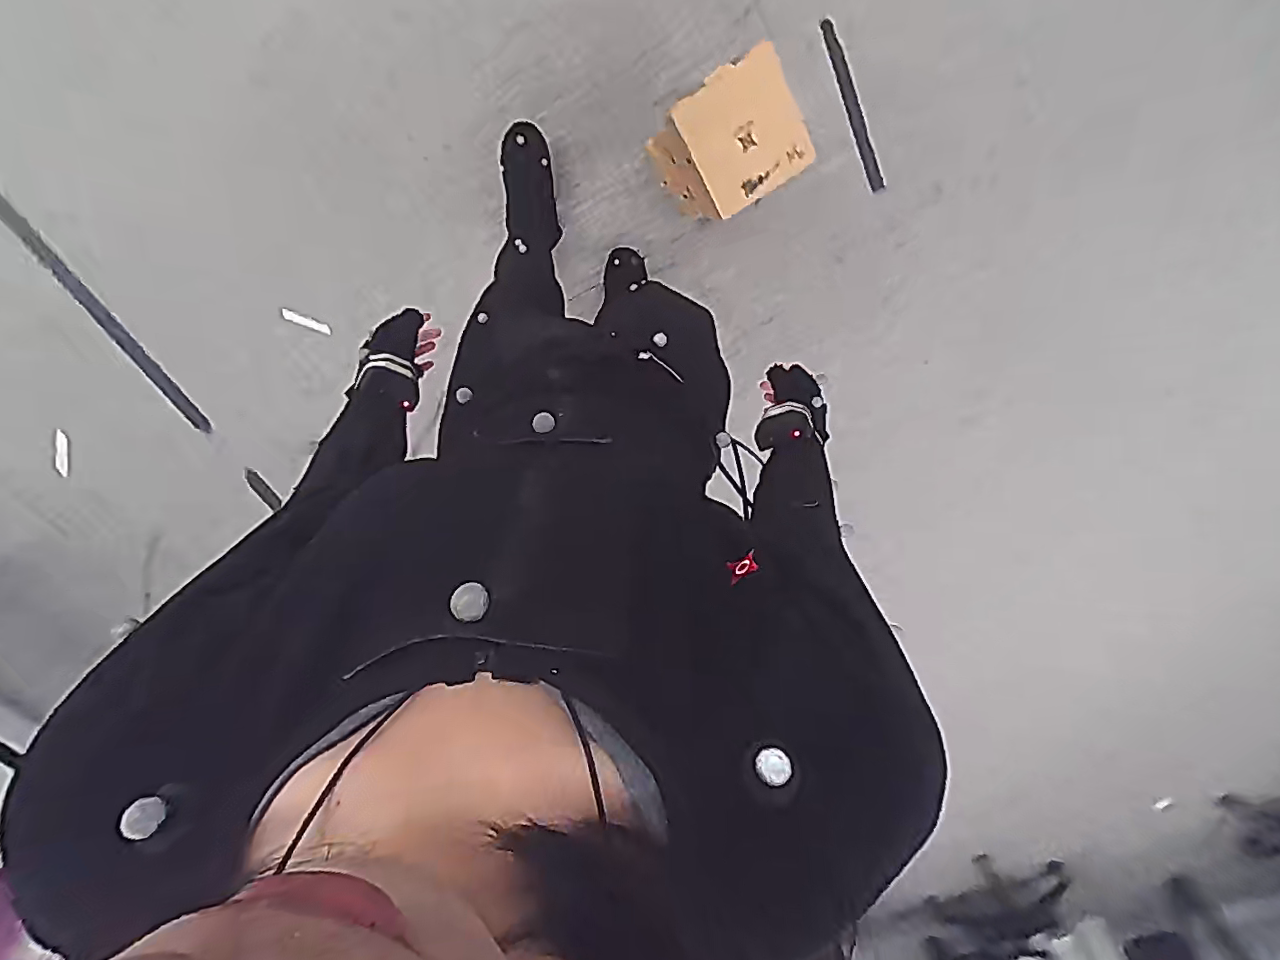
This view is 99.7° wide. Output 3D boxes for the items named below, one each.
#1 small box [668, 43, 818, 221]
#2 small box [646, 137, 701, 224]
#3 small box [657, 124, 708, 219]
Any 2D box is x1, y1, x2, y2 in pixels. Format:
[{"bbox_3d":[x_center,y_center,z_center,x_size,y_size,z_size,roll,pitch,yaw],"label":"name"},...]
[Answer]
[{"bbox_3d":[0.156,-0.541,0.873,0.168,0.176,0.179,-28,113,12],"label":"small box"},{"bbox_3d":[0.128,-0.681,1.166,0.168,0.176,0.179,-33,111,13],"label":"small box"},{"bbox_3d":[0.144,-0.614,1.019,0.179,0.176,0.168,-30,114,11],"label":"small box"}]
